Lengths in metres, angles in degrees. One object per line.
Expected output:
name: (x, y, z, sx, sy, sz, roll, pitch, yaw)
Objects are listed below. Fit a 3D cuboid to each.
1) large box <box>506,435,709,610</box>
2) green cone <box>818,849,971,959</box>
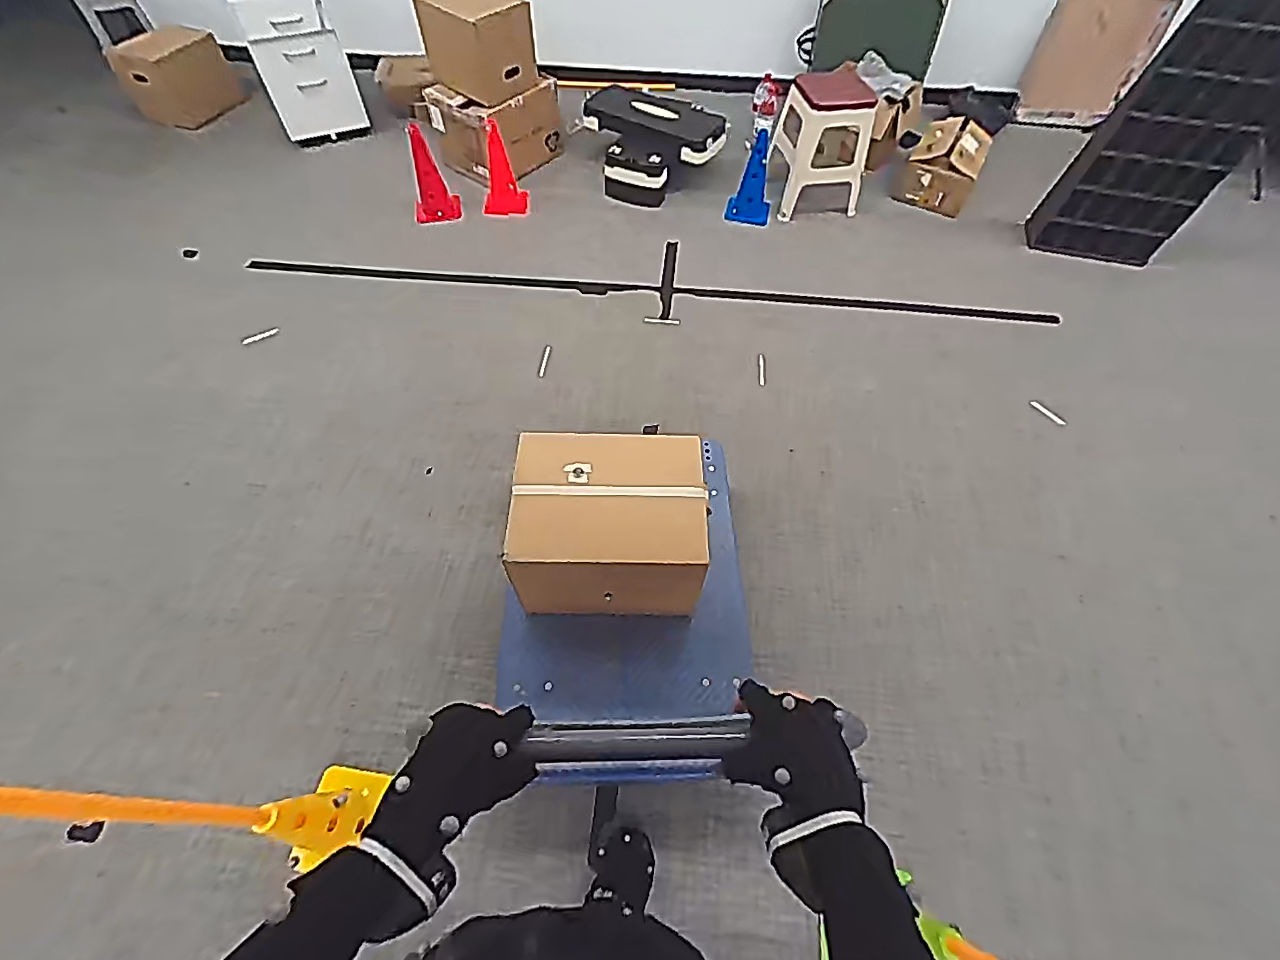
large box: (-0.064, 0.109, 1.258, 0.408, 0.320, 0.320, 1, 58, 0)
green cone: (0.480, 0.813, 0.987, 0.202, 0.368, 0.200, 10, 57, 3)
